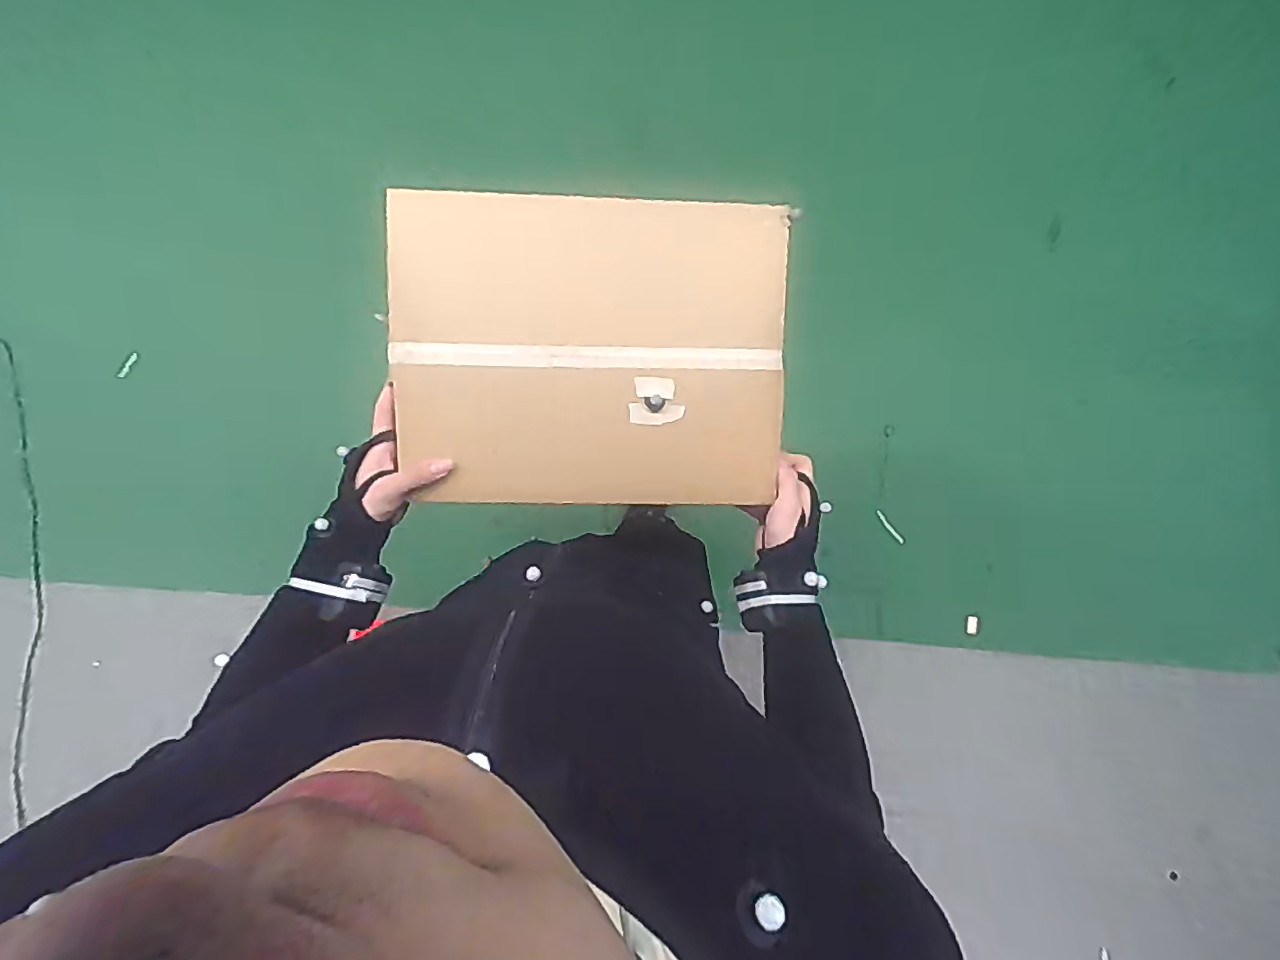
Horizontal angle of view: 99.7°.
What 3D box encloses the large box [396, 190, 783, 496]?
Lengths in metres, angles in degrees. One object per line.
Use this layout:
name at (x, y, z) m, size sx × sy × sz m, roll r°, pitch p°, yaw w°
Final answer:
large box at (-0.060, -0.155, 0.718) m, size 0.408 × 0.320 × 0.320 m, roll 0°, pitch 98°, yaw -5°
